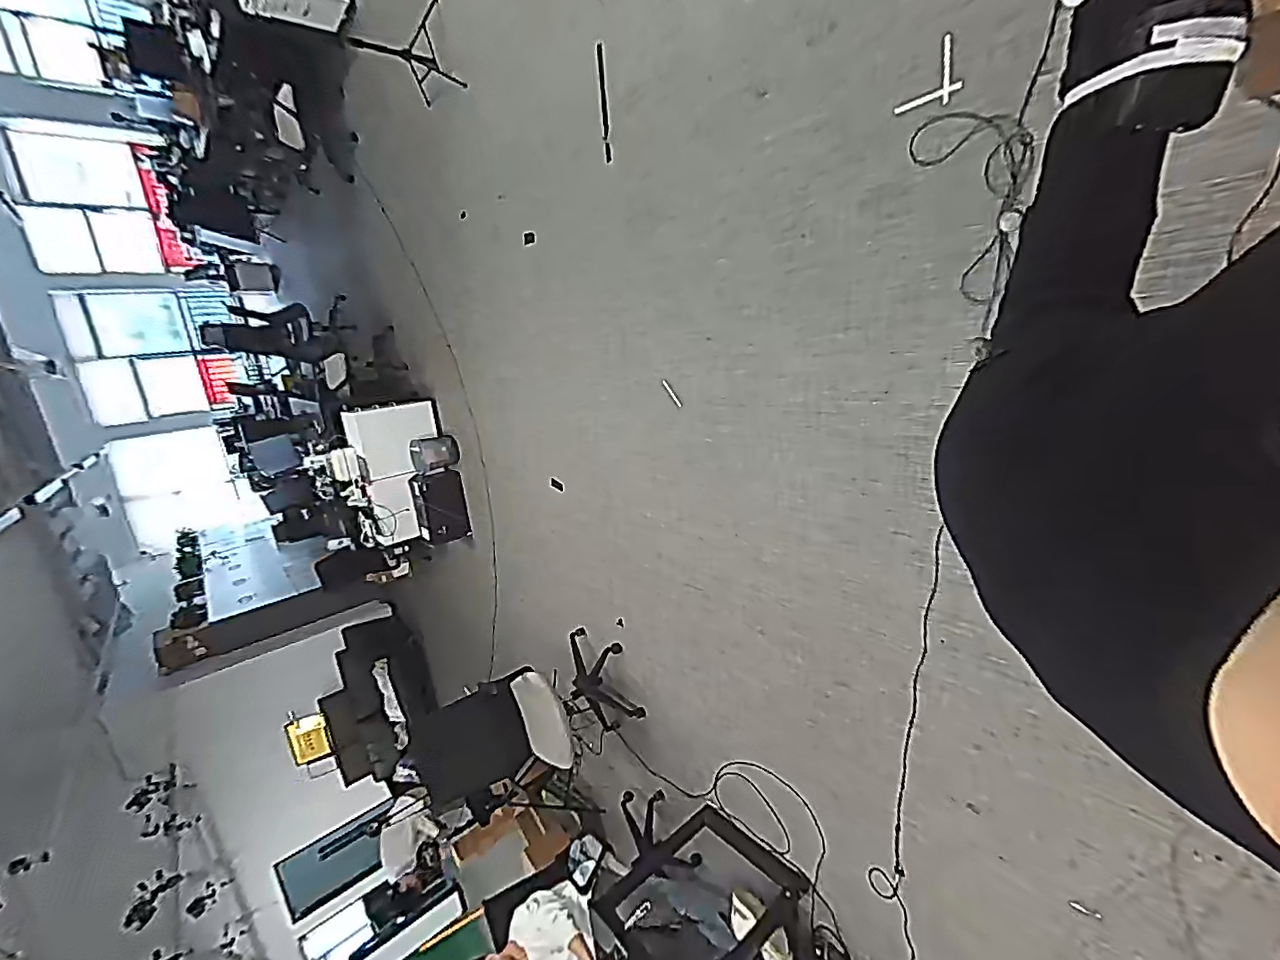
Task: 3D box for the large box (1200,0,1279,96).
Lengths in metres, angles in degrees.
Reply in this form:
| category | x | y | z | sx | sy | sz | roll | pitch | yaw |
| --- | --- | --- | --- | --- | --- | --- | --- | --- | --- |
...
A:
| category | x | y | z | sx | sy | sz | roll | pitch | yaw |
| --- | --- | --- | --- | --- | --- | --- | --- | --- | --- |
| large box | 0.585 | -0.442 | 0.247 | 0.408 | 0.320 | 0.320 | 16 | 119 | 48 |
